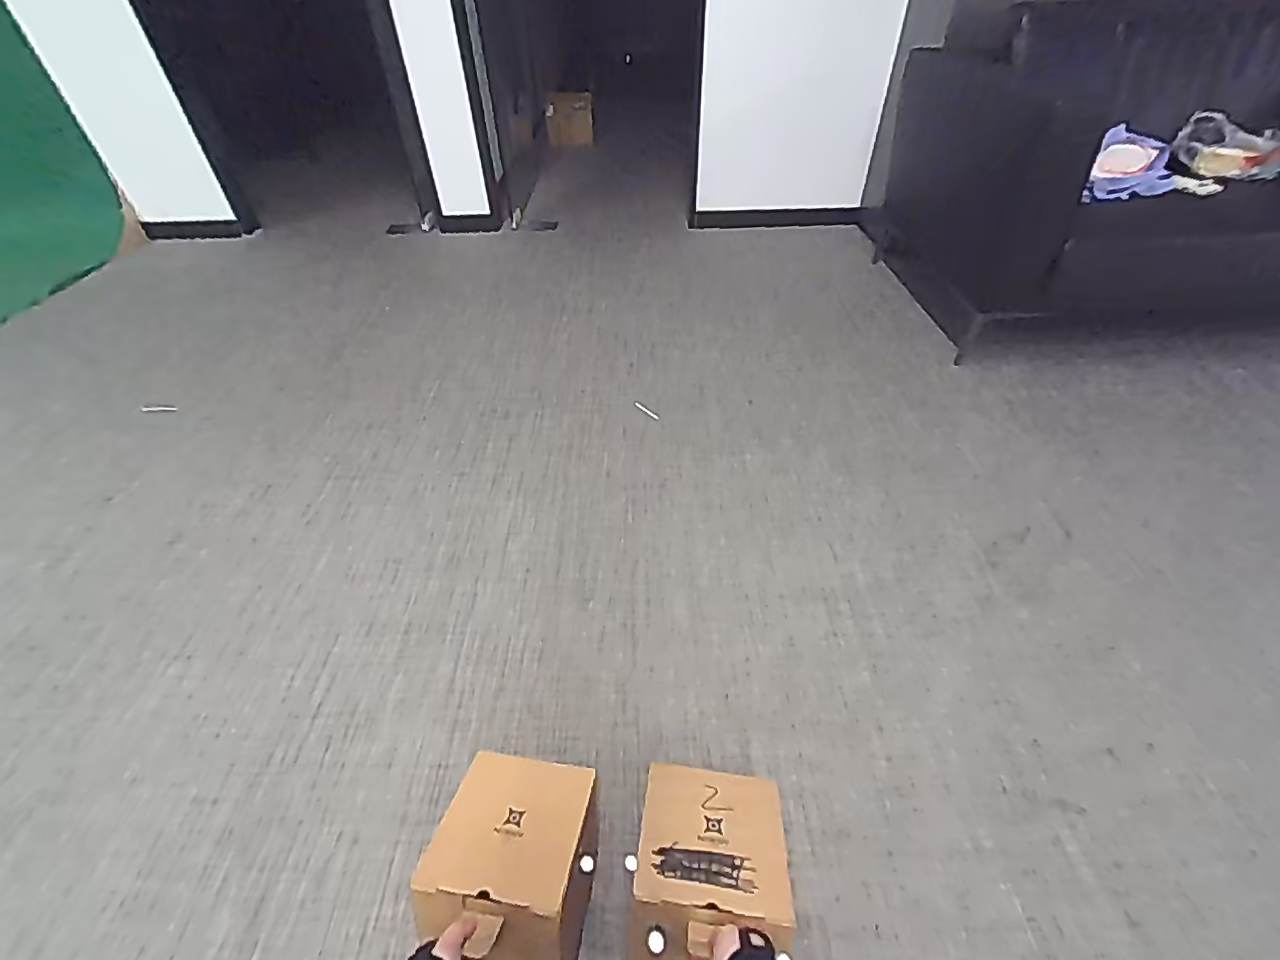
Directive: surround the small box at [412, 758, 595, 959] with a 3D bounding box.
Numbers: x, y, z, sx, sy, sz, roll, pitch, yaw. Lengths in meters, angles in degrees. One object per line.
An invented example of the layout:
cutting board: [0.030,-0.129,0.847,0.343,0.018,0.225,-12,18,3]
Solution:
small box: [-0.155,0.488,0.671,0.168,0.176,0.179,5,24,7]
